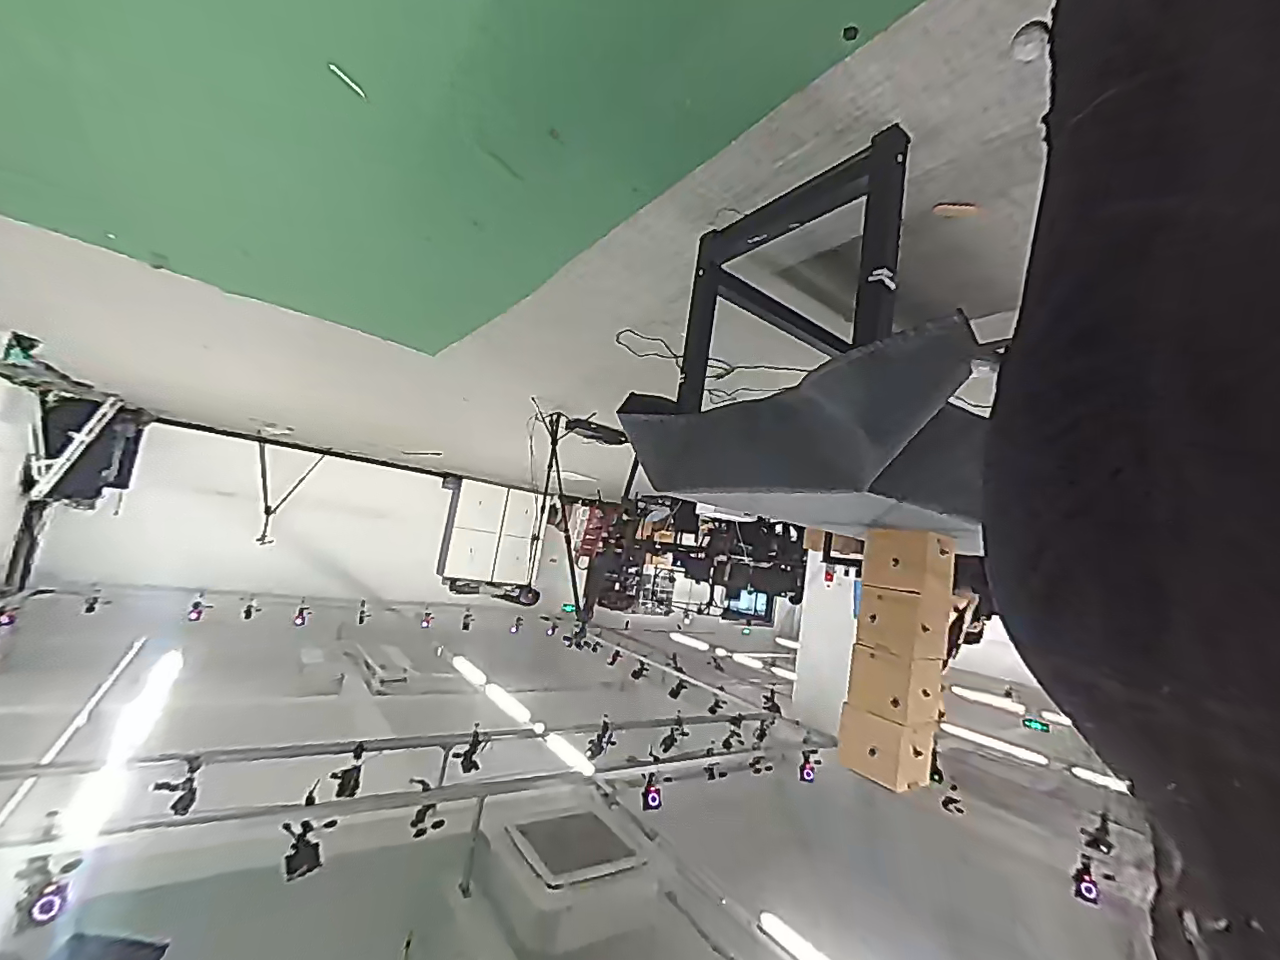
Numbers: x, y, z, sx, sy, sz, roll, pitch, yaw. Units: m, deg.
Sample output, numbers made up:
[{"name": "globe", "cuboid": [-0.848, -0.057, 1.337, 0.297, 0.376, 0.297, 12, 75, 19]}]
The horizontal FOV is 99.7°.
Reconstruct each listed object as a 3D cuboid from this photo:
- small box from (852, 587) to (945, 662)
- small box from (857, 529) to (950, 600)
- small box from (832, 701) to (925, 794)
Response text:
[{"name": "small box", "cuboid": [0.708, 0.390, 1.481, 0.179, 0.176, 0.168, 14, 172, -33]}, {"name": "small box", "cuboid": [0.733, 0.230, 1.497, 0.168, 0.176, 0.179, 14, 170, -36]}, {"name": "small box", "cuboid": [0.646, 0.710, 1.457, 0.168, 0.176, 0.179, 14, 171, -34]}]
